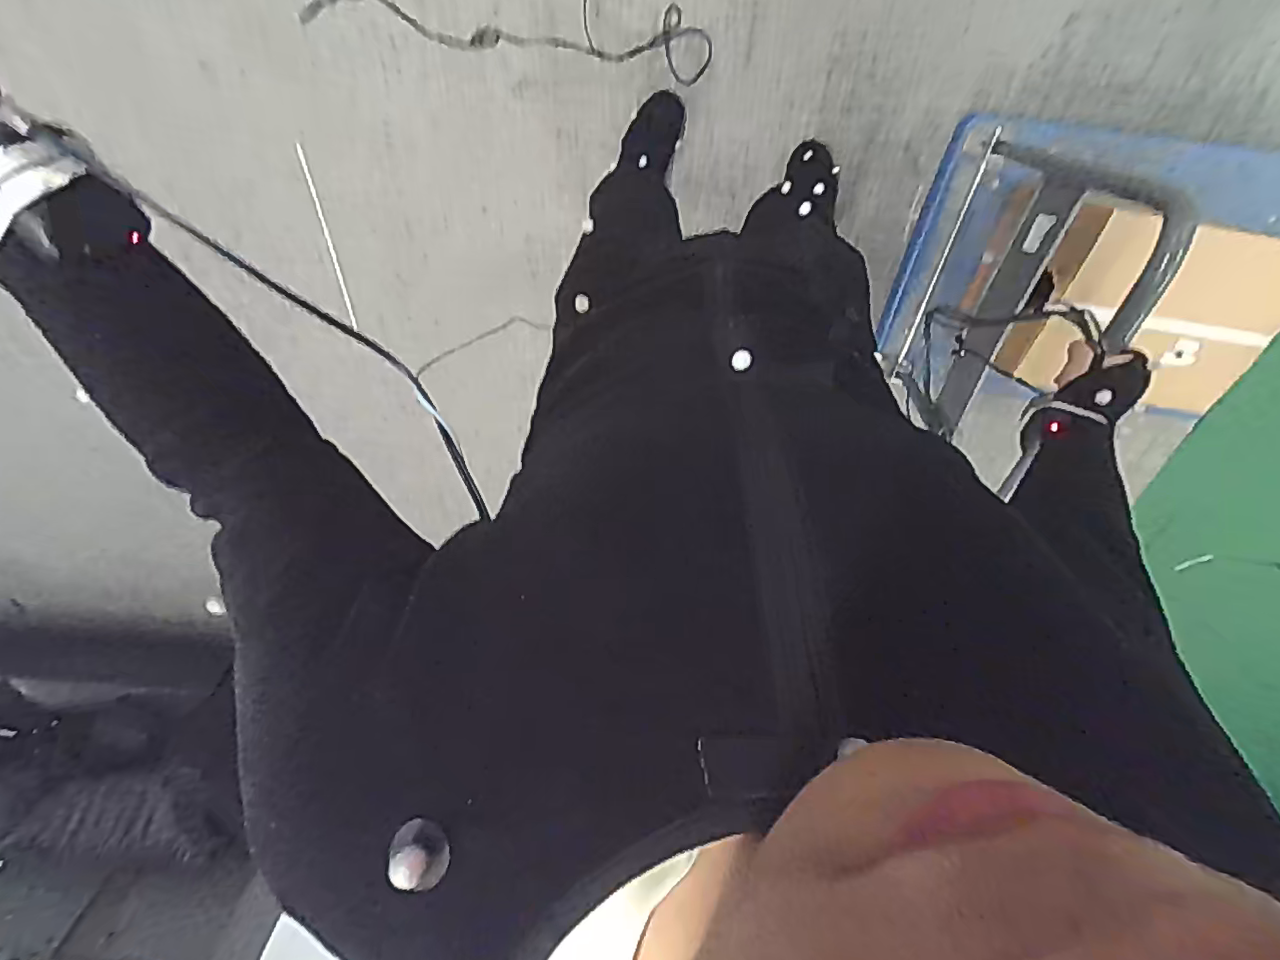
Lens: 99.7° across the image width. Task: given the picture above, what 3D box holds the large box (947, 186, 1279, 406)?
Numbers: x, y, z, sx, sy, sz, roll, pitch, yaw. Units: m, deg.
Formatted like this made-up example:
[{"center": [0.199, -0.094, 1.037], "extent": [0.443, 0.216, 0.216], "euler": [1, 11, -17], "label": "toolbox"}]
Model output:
[{"center": [0.937, -0.382, 1.100], "extent": [0.408, 0.320, 0.320], "euler": [9, 128, -2], "label": "large box"}]
